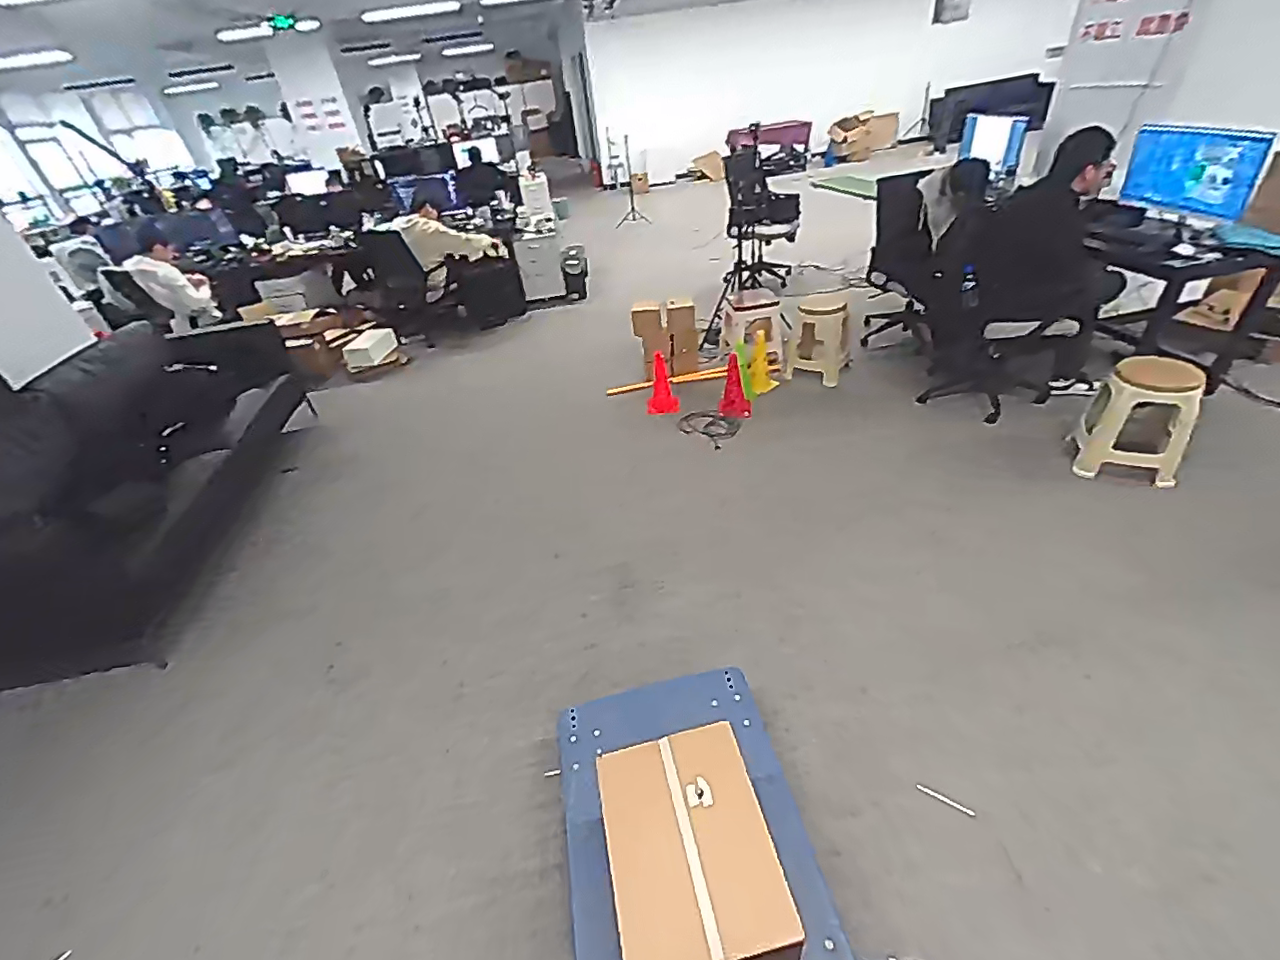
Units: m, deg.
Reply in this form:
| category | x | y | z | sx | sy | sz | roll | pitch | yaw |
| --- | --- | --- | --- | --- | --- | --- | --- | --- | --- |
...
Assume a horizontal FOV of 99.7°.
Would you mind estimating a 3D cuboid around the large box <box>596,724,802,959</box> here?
| category | x | y | z | sx | sy | sz | roll | pitch | yaw |
| --- | --- | --- | --- | --- | --- | --- | --- | --- | --- |
| large box | 0.112 | 0.822 | 1.154 | 0.320 | 0.320 | 0.408 | -13 | 36 | -5 |
